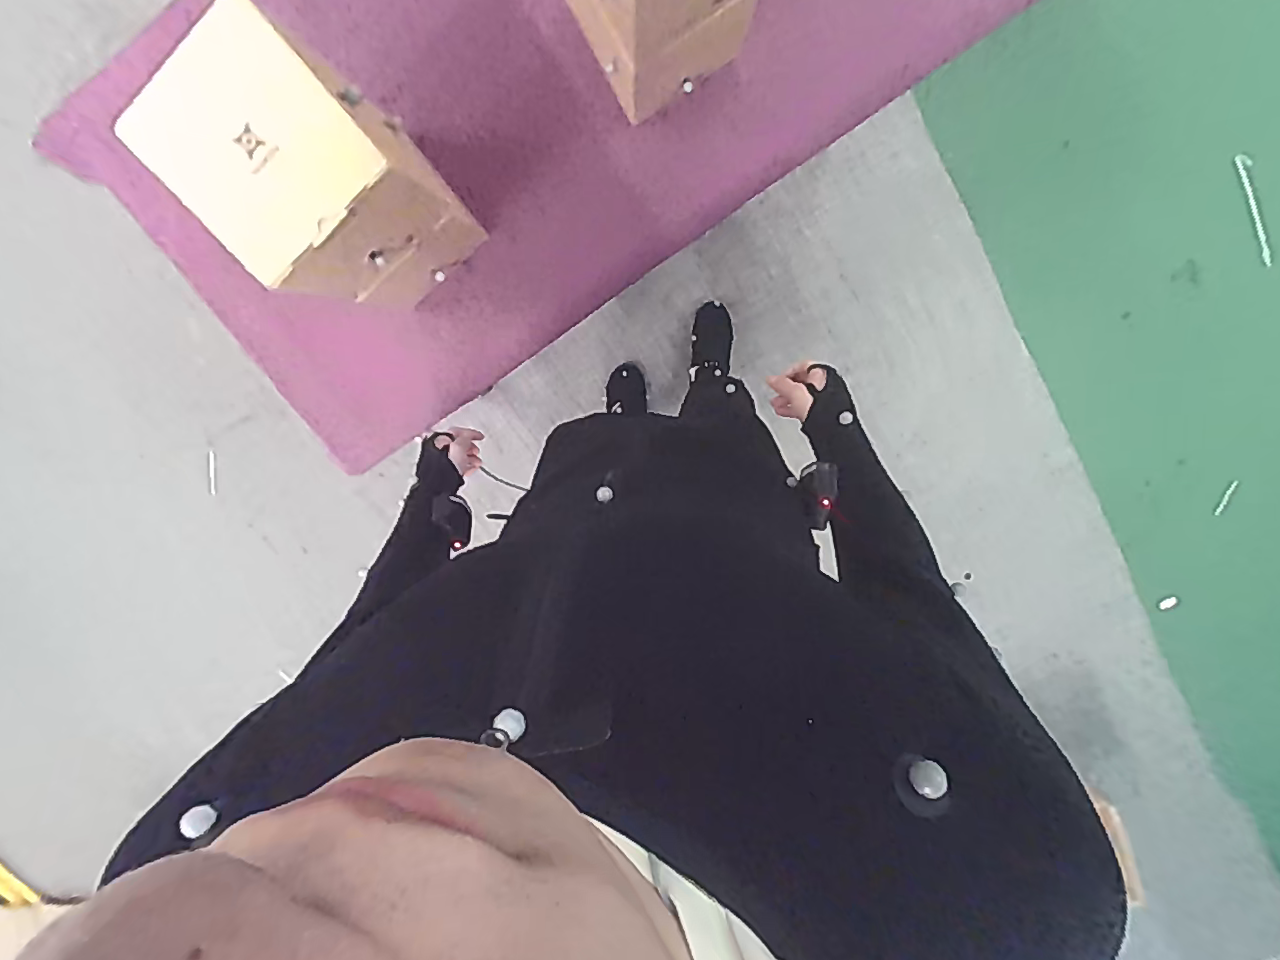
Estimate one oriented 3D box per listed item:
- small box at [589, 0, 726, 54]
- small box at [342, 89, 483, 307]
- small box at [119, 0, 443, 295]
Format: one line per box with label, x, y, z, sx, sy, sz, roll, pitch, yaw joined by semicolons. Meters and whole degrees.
small box;0.014;-0.540;0.492;0.168;0.176;0.179;-31;103;8
small box;-0.341;-0.348;0.712;0.168;0.176;0.179;-37;102;10
small box;-0.341;-0.311;0.553;0.168;0.176;0.179;-40;102;9
